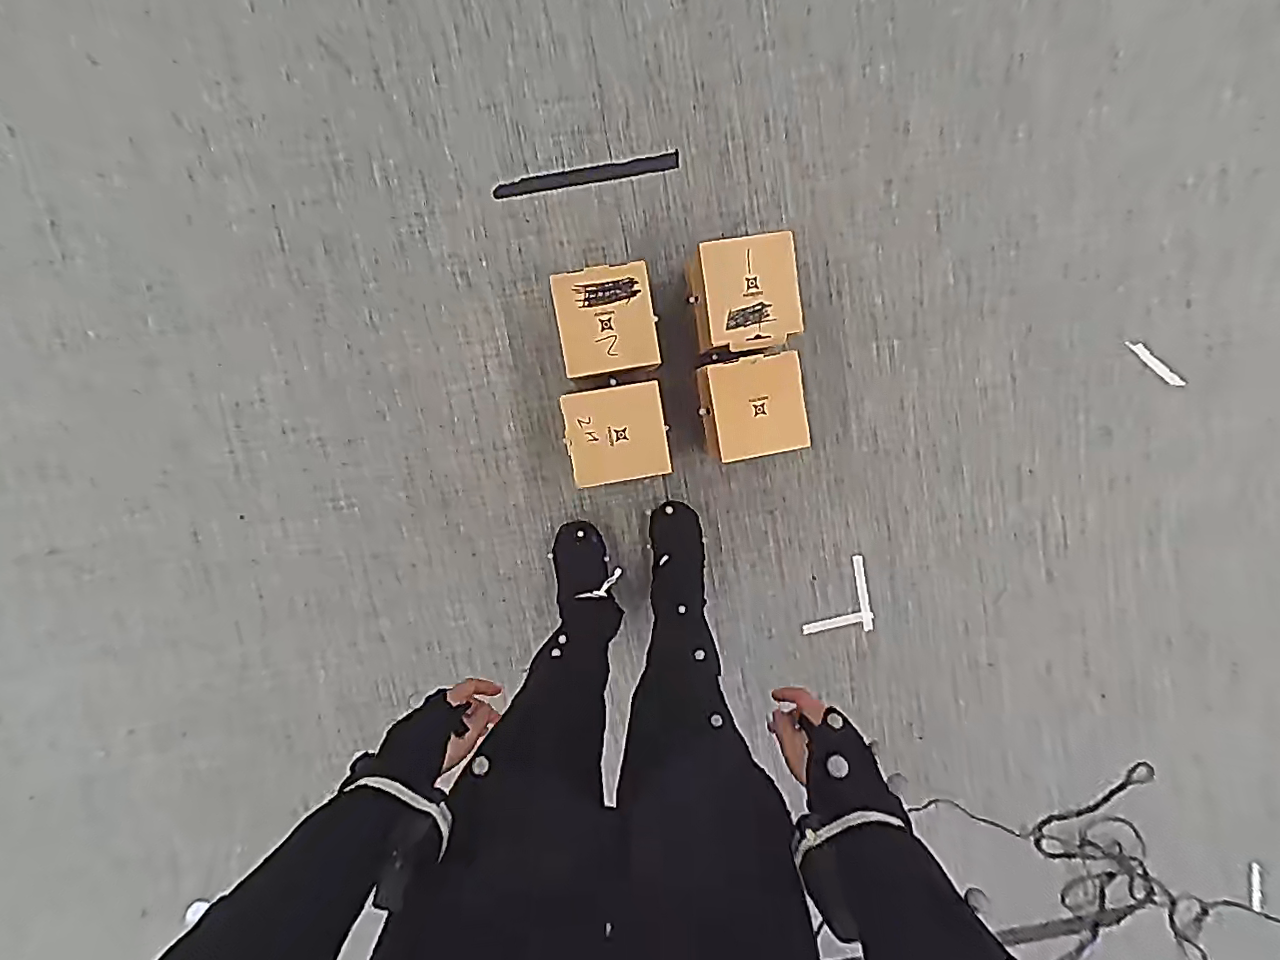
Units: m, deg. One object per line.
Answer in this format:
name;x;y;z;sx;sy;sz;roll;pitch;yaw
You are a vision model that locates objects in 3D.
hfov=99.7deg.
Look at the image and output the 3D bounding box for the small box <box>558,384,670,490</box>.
small box;-0.050;-0.085;1.015;0.179;0.176;0.168;-10;98;-2
